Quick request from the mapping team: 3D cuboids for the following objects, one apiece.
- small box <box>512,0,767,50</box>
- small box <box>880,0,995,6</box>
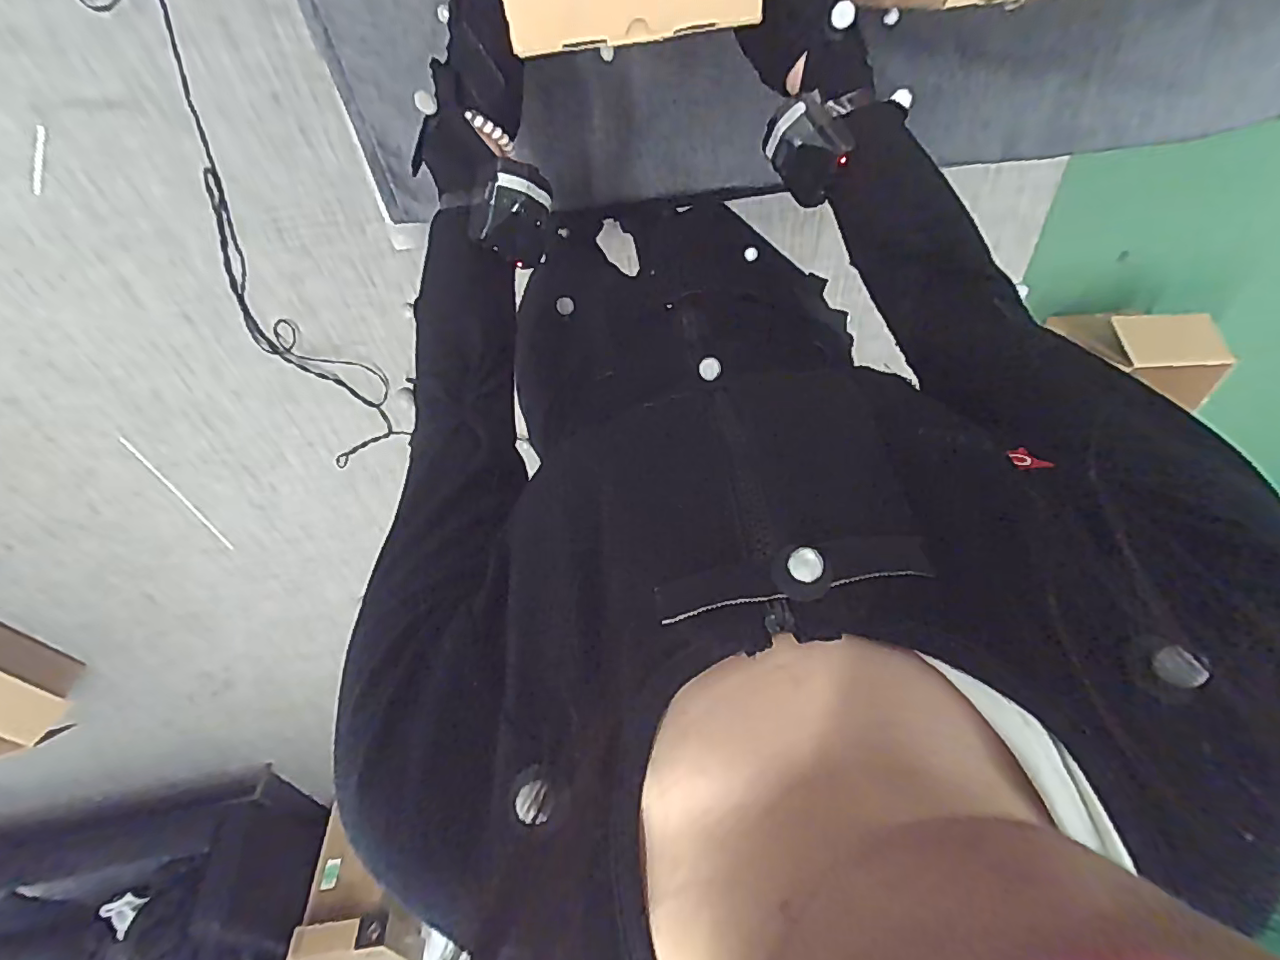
[{"bbox_3d":[-0.017,-0.406,0.358,0.168,0.176,0.179,-10,131,-2],"label":"small box"},{"bbox_3d":[0.267,-0.448,0.370,0.168,0.176,0.179,-9,131,-2],"label":"small box"}]
